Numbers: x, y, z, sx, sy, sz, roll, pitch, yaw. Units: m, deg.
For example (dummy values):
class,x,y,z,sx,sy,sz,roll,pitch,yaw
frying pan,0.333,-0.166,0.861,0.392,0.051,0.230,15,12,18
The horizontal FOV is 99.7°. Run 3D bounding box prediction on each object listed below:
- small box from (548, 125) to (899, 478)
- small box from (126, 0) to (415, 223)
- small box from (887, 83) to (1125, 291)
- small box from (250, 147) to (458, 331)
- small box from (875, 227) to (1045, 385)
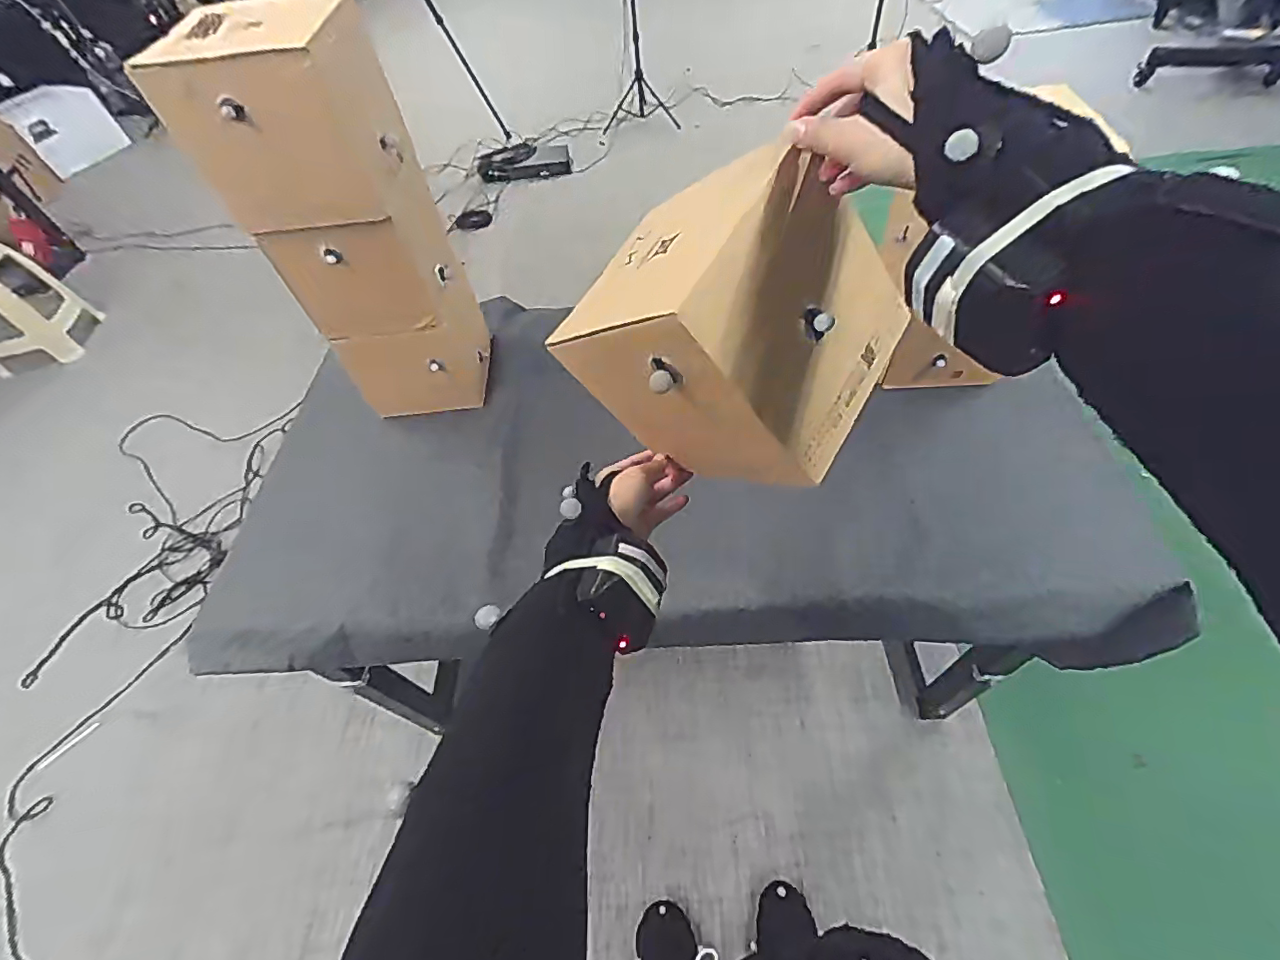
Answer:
class,x,y,z,sx,sy,sz,roll,pitch,yaw
small box,0.067,-0.117,0.423,0.179,0.176,0.168,11,62,56
small box,-0.382,-0.408,0.601,0.179,0.176,0.168,-4,56,2
small box,0.425,-0.351,0.668,0.168,0.176,0.179,-1,57,6
small box,-0.372,-0.323,0.741,0.179,0.176,0.168,-6,57,1
small box,0.445,-0.262,0.805,0.168,0.176,0.179,-1,56,6
